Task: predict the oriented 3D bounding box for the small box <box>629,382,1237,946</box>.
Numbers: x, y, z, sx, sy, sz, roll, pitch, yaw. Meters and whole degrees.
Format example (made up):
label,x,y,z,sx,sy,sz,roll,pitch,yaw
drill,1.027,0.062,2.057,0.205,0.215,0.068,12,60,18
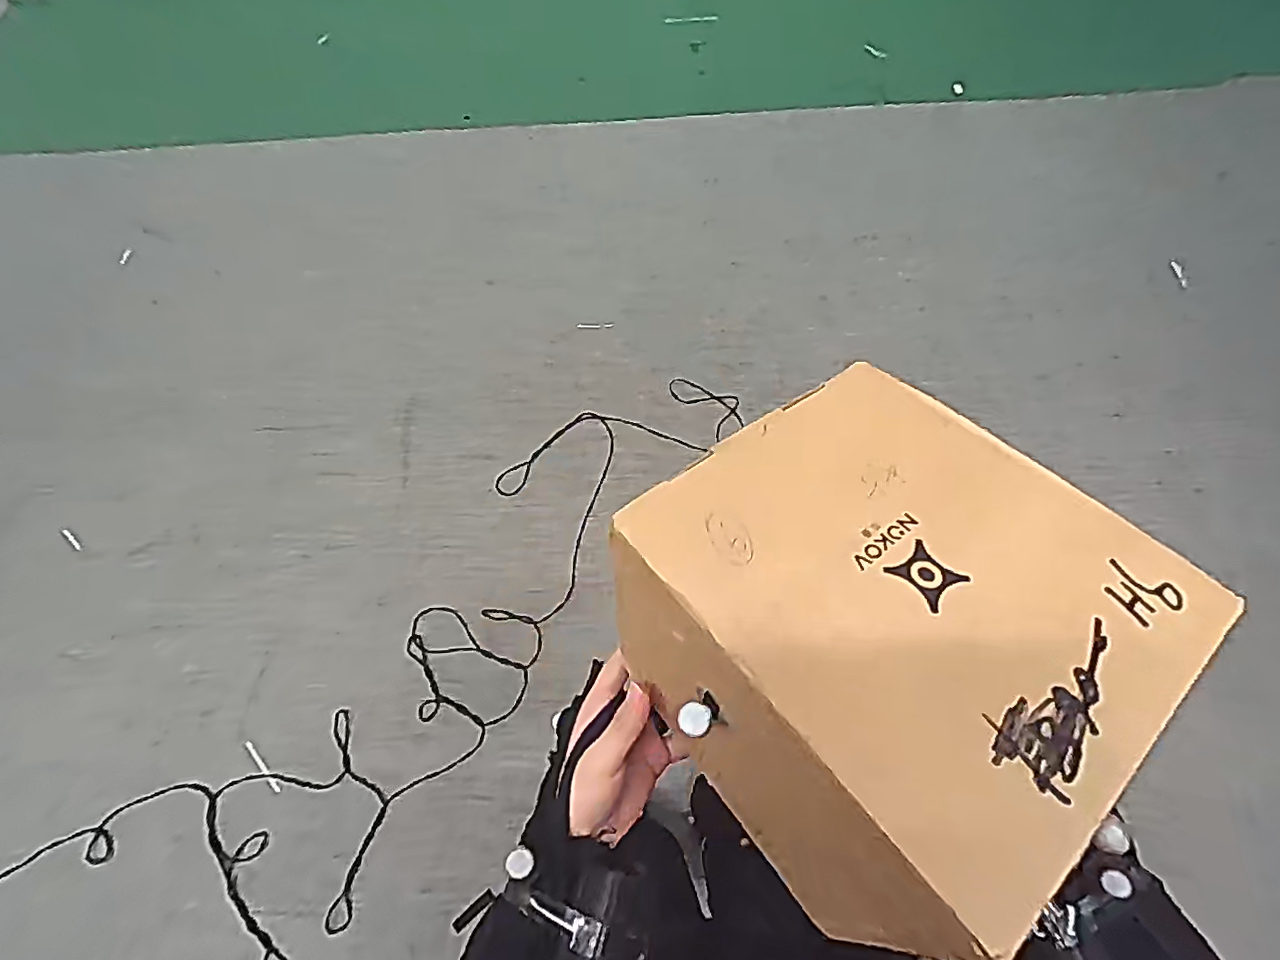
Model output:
label,x,y,z,sx,sy,sz,roll,pitch,yaw
small box,0.109,0.087,0.278,0.168,0.176,0.179,-32,57,-21
